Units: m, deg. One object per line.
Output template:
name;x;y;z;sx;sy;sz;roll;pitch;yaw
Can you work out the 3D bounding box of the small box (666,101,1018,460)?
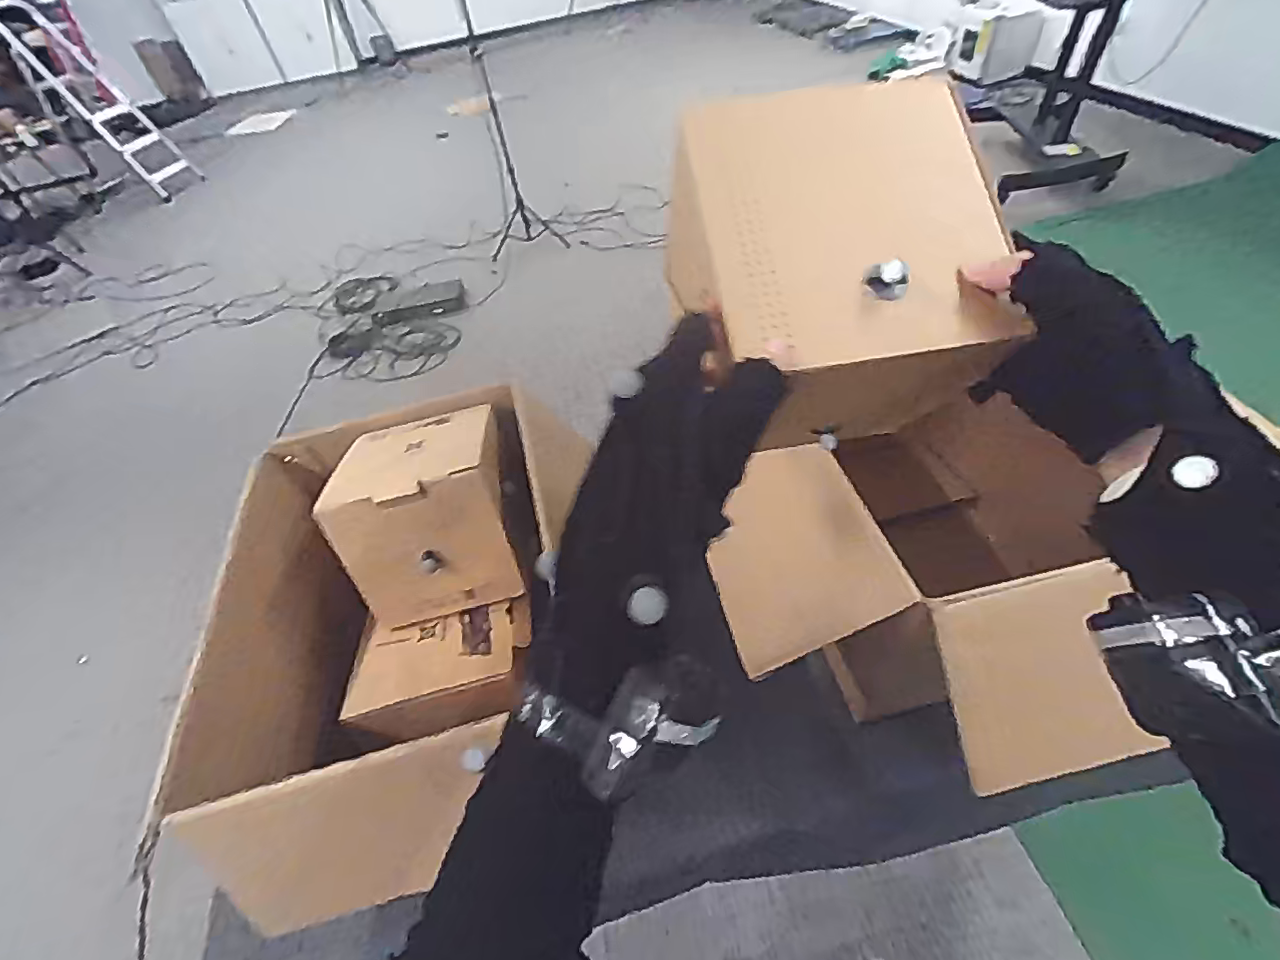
small box;0.114;-0.122;0.389;0.176;0.168;0.179;-9;78;-3
